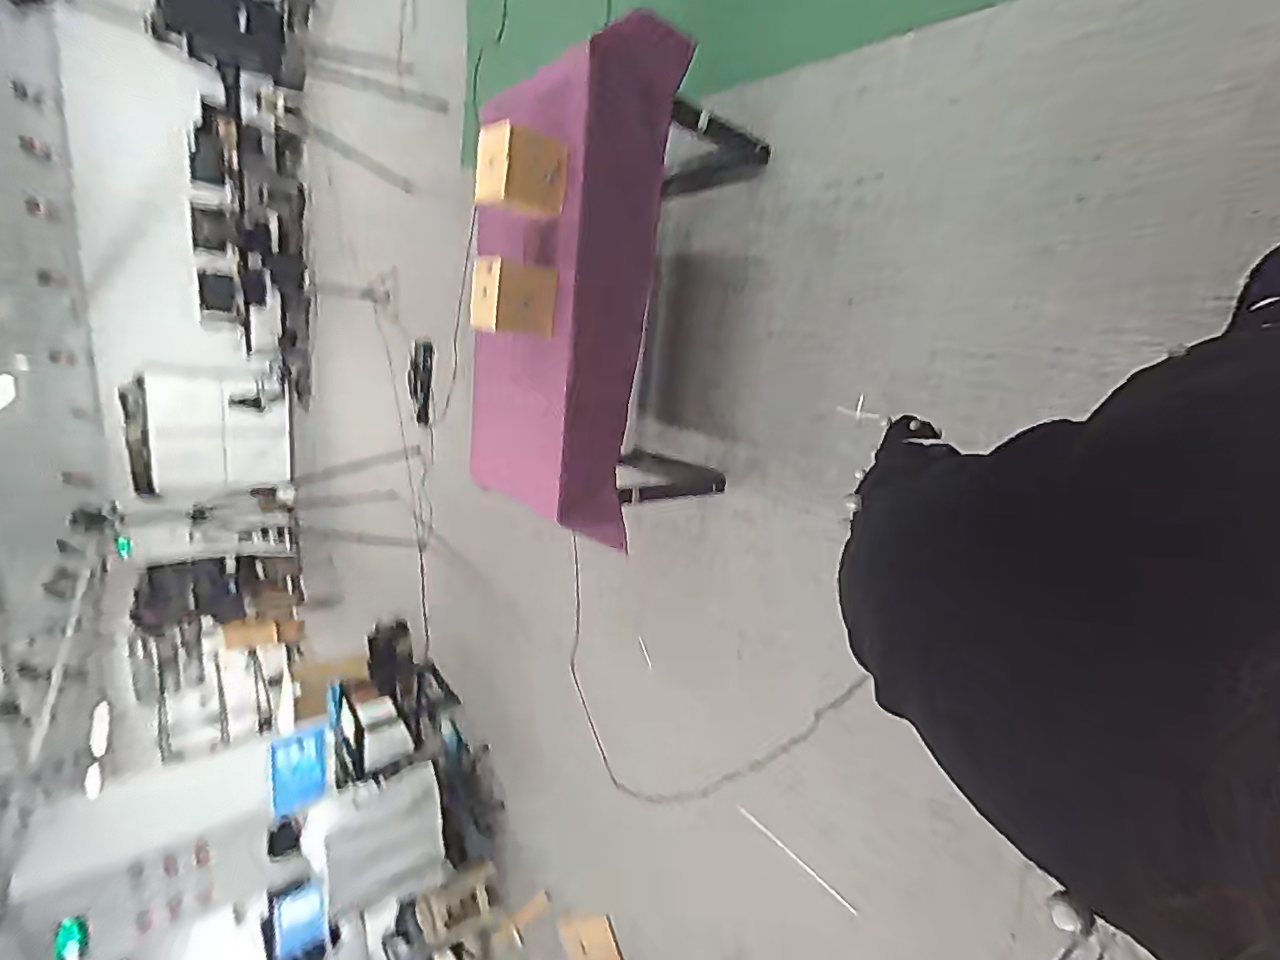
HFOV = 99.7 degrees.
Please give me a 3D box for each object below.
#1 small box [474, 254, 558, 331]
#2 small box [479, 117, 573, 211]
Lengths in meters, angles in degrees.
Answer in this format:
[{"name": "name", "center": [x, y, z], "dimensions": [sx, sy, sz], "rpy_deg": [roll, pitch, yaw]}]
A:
[{"name": "small box", "center": [-0.337, -0.507, 1.471], "dimensions": [0.168, 0.176, 0.179], "rpy_deg": [26, 113, 46]}, {"name": "small box", "center": [-0.298, -0.808, 1.402], "dimensions": [0.179, 0.176, 0.168], "rpy_deg": [27, 113, 45]}]
